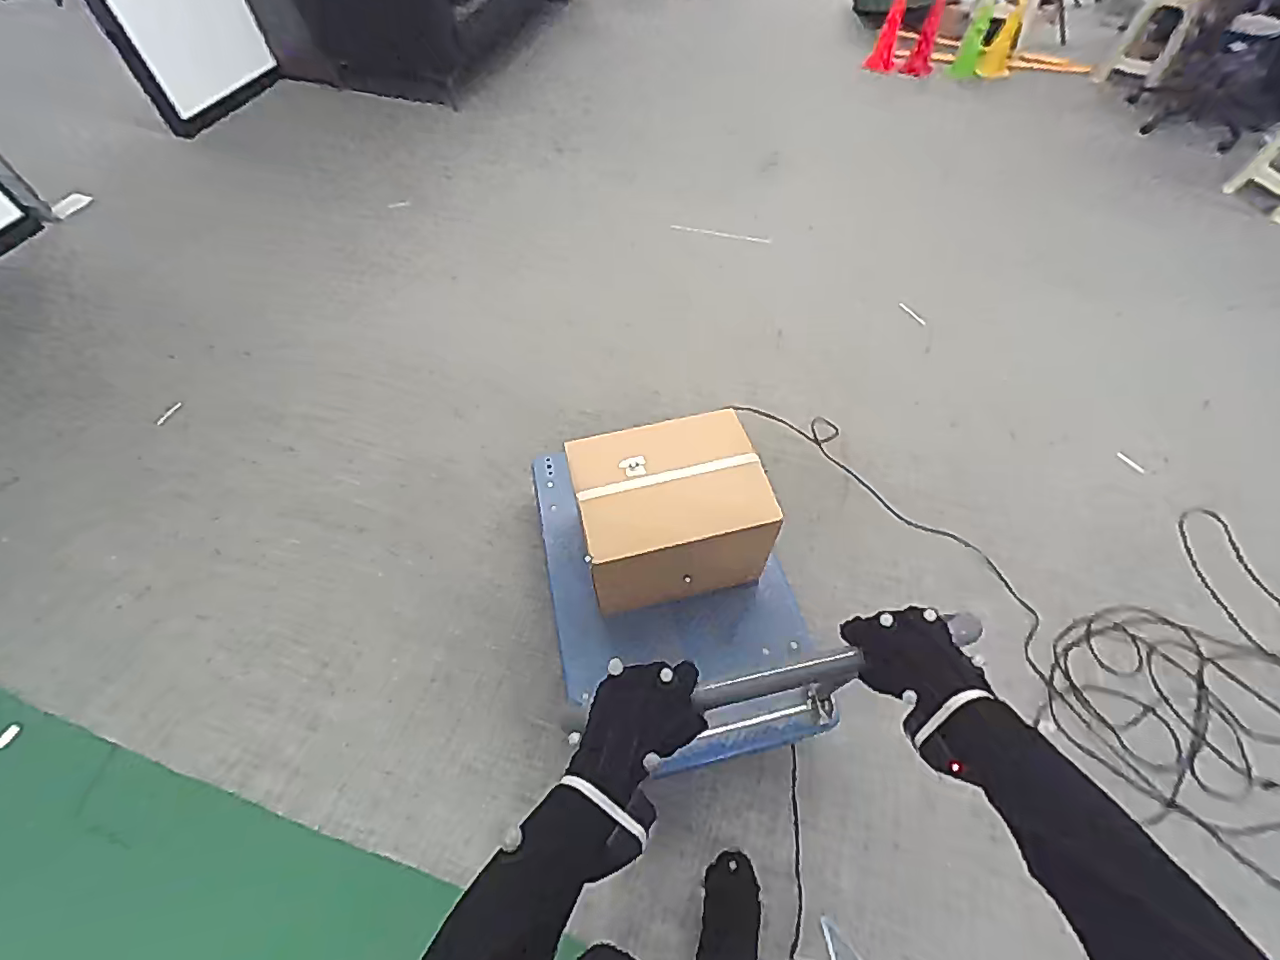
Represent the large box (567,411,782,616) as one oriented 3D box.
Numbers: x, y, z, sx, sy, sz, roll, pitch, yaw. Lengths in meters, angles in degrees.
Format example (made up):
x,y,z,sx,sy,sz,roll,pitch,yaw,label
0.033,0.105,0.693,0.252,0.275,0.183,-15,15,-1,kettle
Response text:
x,y,z,sx,sy,sz,roll,pitch,yaw,label
0.069,0.086,1.290,0.408,0.320,0.320,-13,57,-7,large box
